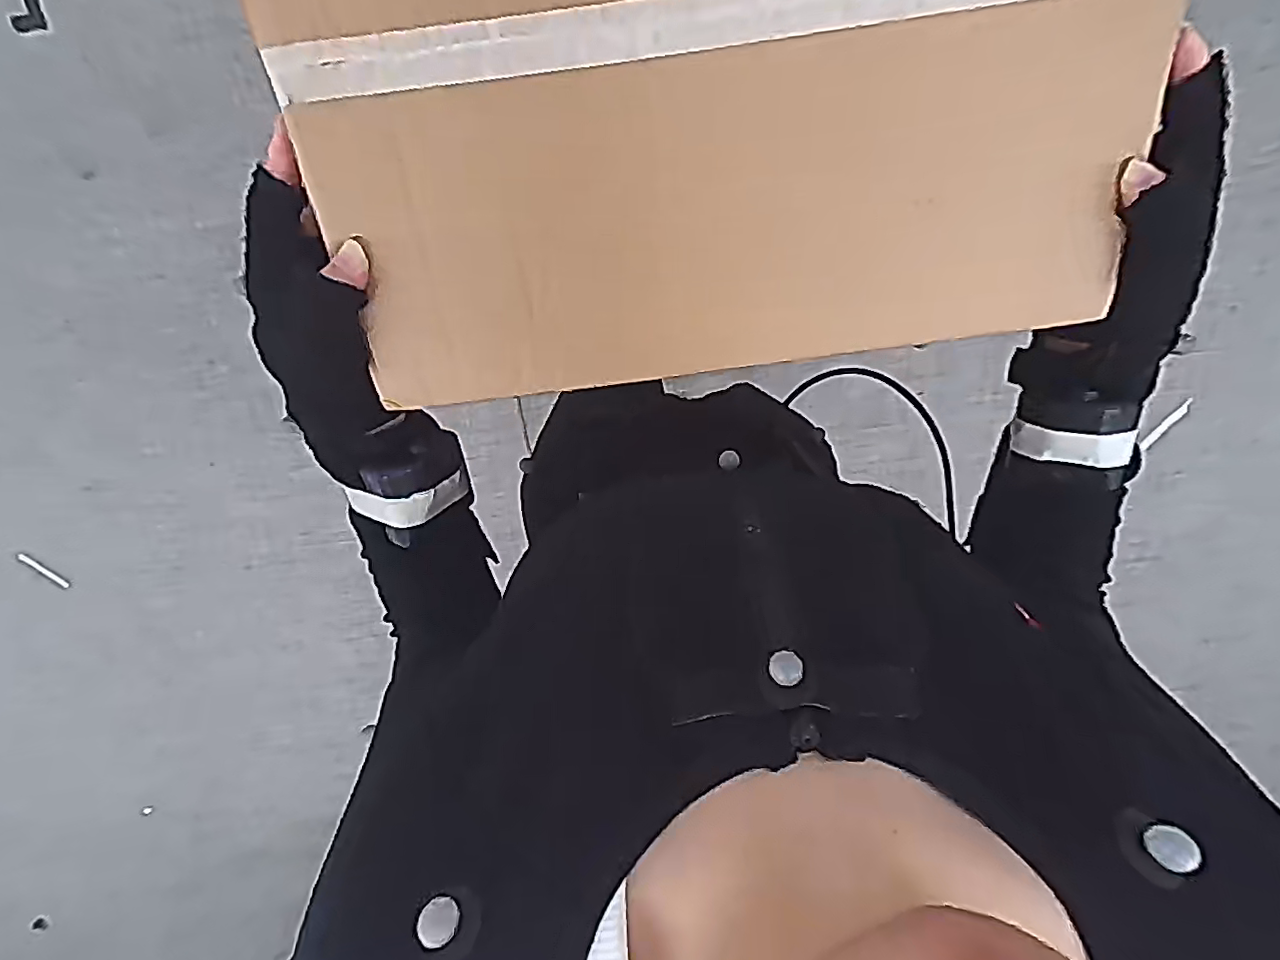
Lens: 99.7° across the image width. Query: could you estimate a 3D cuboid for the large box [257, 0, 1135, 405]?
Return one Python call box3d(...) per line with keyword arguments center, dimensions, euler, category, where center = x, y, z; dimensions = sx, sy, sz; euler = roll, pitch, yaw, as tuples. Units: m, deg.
box3d(center=(0.027, -0.271, 0.381), dimensions=(0.408, 0.320, 0.320), euler=(-7, 115, 1), category="large box")
